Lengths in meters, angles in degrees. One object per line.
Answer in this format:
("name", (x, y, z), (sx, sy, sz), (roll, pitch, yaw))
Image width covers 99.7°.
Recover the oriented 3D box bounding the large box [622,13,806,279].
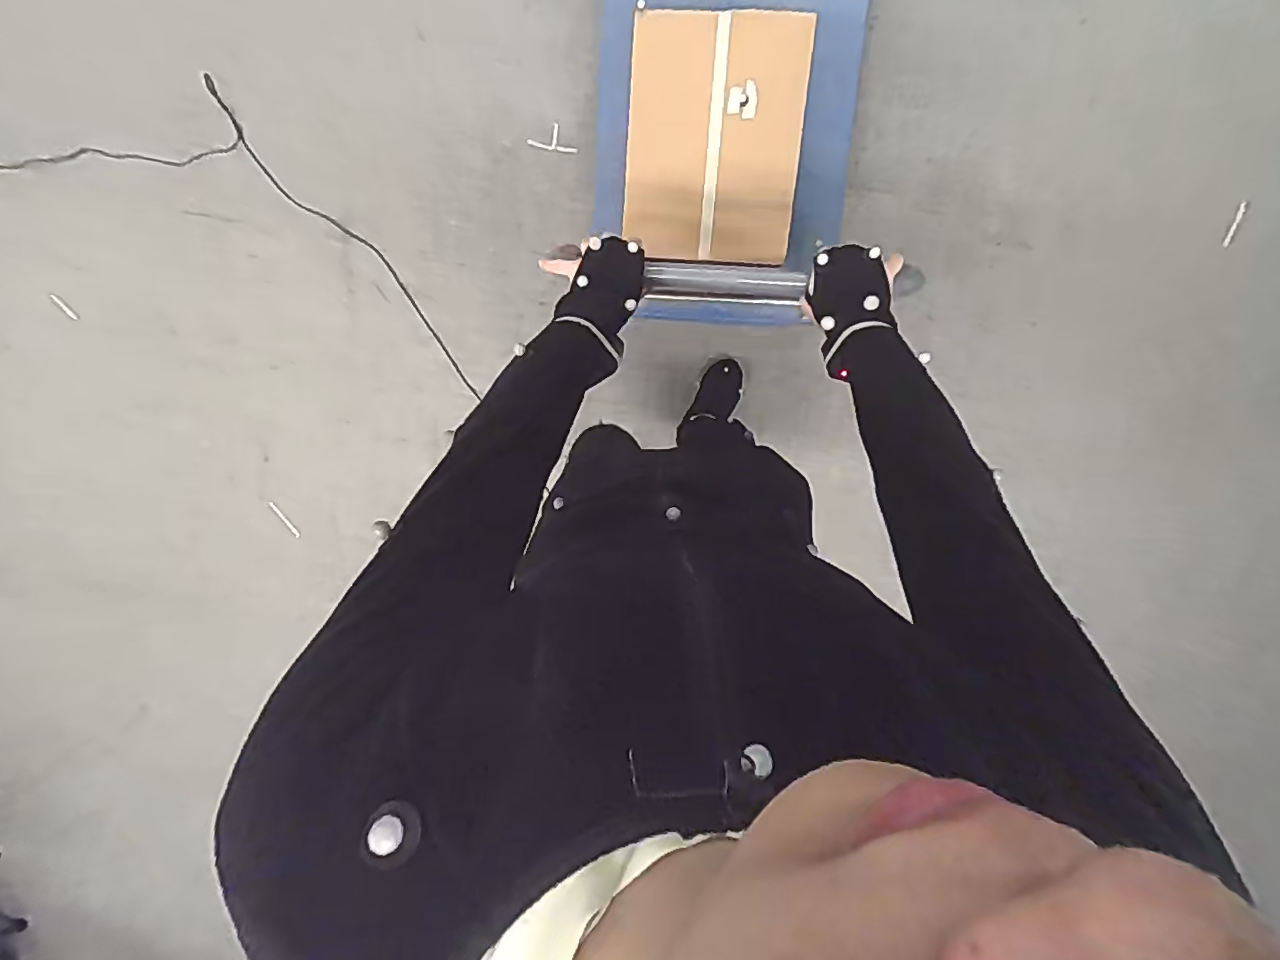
("large box", (0.143, -0.655, 1.136), (0.320, 0.320, 0.408), (5, 103, 4))
